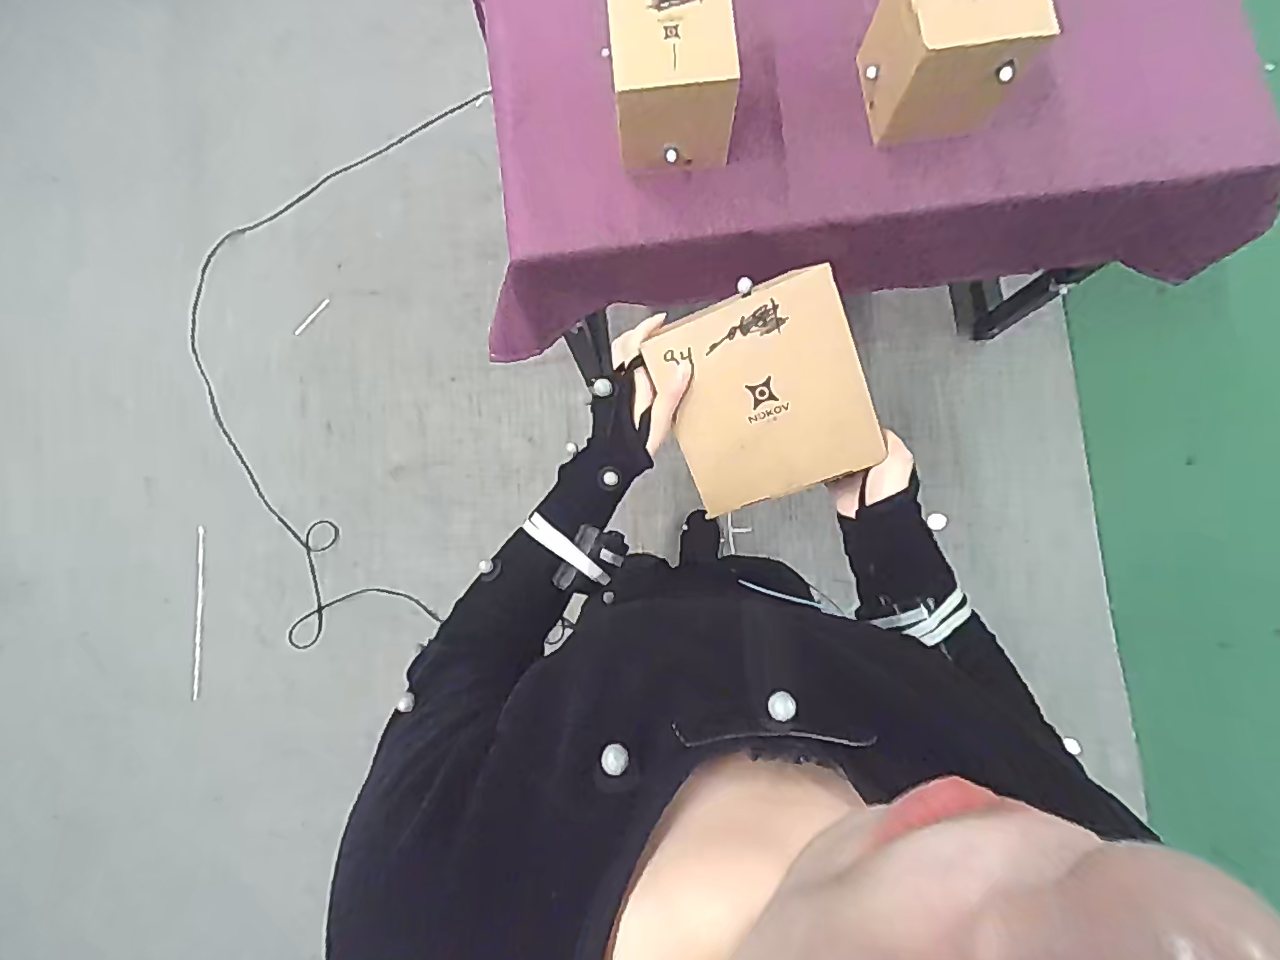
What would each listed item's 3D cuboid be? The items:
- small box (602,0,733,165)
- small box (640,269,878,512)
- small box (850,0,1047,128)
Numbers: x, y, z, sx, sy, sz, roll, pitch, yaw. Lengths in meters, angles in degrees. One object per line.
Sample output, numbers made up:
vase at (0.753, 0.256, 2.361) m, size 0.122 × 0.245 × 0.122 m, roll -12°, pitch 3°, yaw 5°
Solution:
small box at (0.035, -0.606, 0.795) m, size 0.168 × 0.176 × 0.179 m, roll -6°, pitch 83°, yaw 2°
small box at (0.116, -0.097, 0.549) m, size 0.168 × 0.176 × 0.179 m, roll -20°, pitch 105°, yaw 14°
small box at (0.431, -0.654, 0.784) m, size 0.179 × 0.176 × 0.168 m, roll -8°, pitch 82°, yaw 2°
